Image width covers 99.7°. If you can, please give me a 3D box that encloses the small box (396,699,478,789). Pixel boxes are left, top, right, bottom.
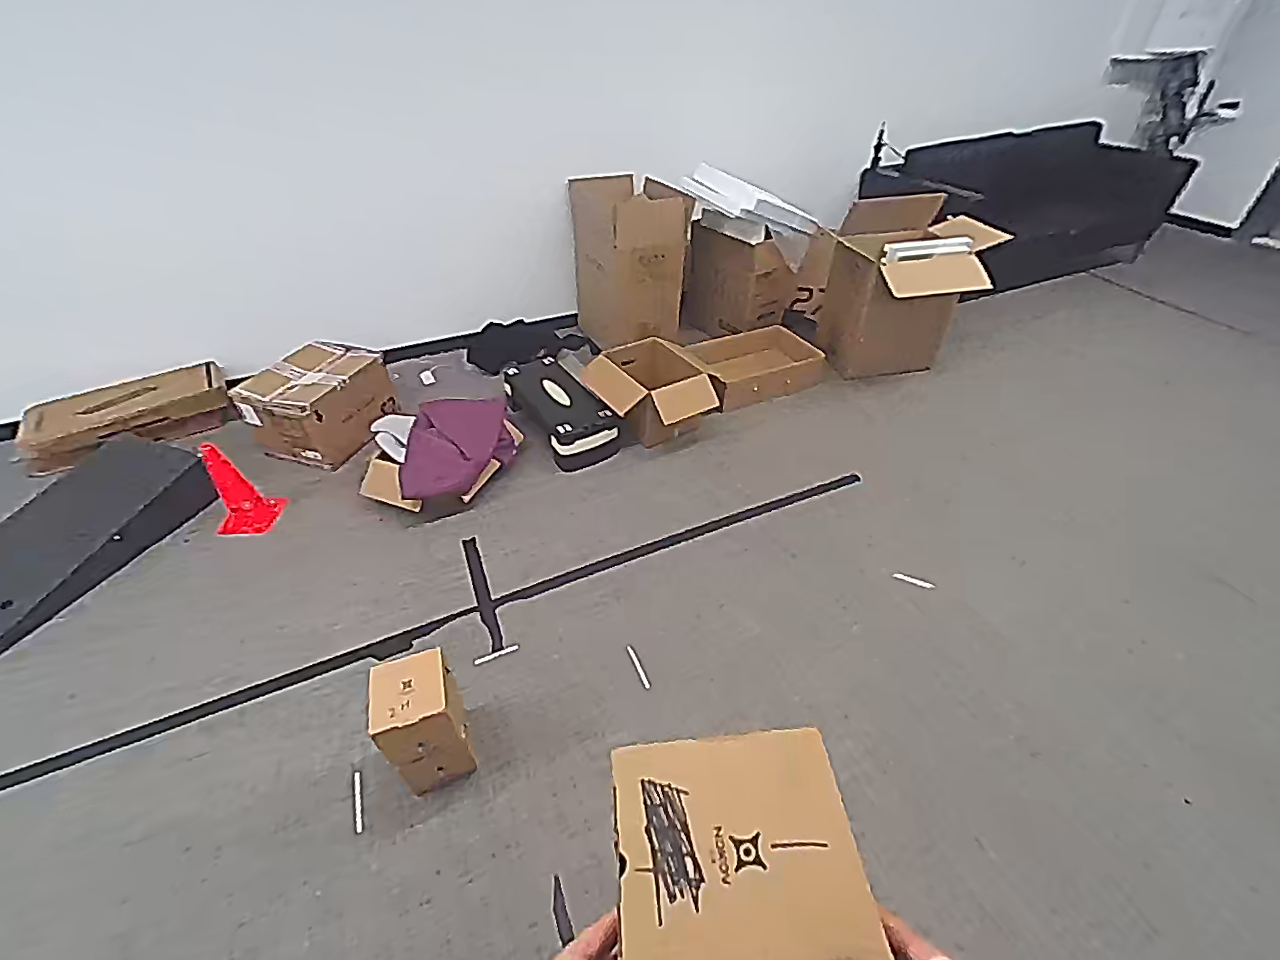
[{"bbox_3d":[-0.534,0.676,1.412,0.168,0.176,0.179,-18,44,-18],"label":"small box"}]

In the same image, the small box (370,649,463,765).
[{"bbox_3d":[-0.536,0.548,1.306,0.168,0.176,0.179,-14,43,-14],"label":"small box"}]

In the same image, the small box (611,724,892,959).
[{"bbox_3d":[0.074,0.326,0.445,0.179,0.176,0.168,-6,42,-1],"label":"small box"}]
